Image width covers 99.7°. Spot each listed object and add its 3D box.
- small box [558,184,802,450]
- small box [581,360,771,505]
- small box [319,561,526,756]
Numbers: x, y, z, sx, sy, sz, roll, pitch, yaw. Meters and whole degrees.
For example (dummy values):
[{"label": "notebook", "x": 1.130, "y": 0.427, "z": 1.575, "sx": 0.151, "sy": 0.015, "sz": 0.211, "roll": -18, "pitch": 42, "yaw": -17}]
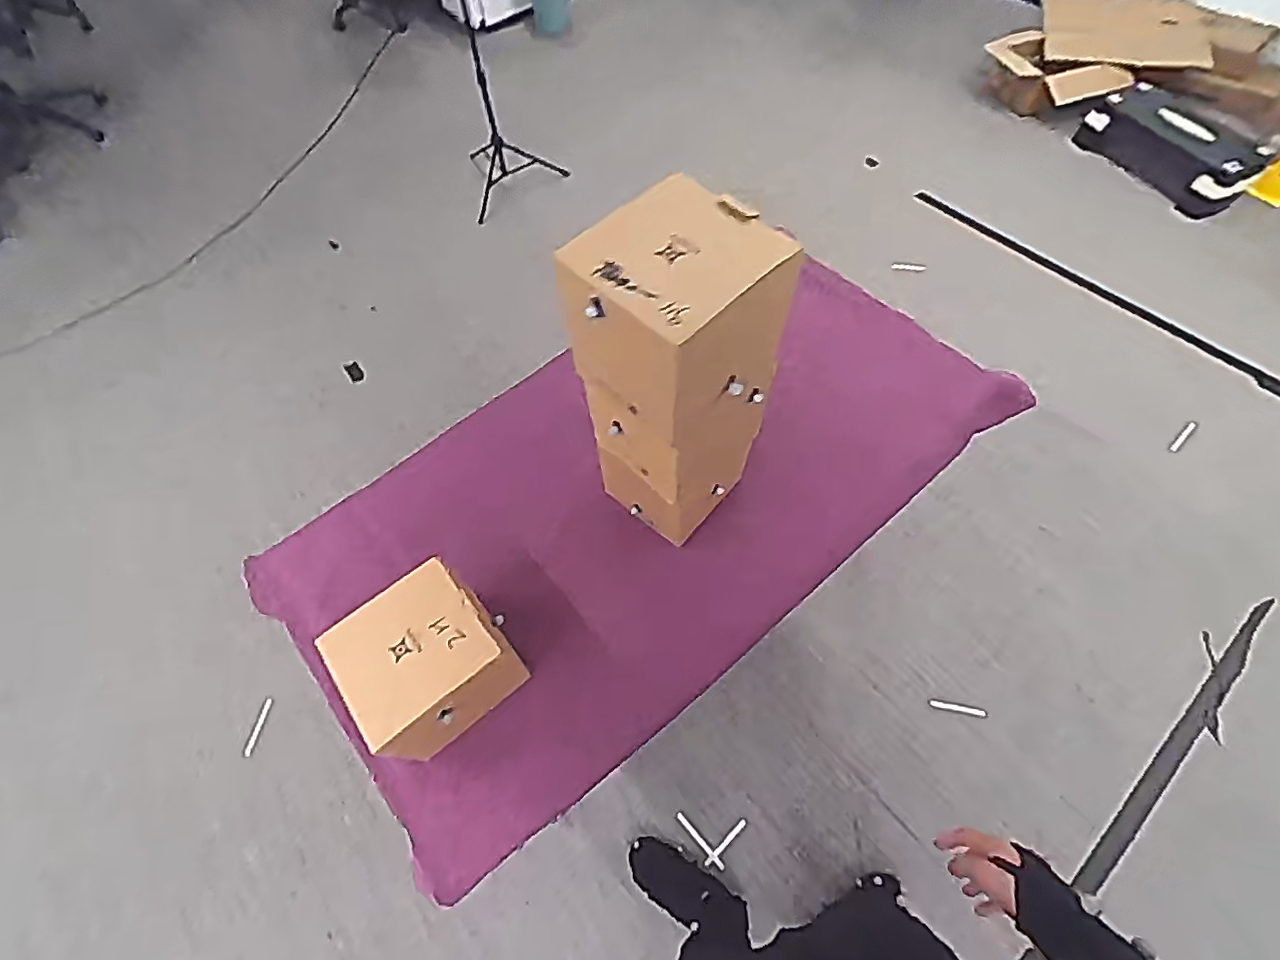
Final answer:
[{"label": "small box", "x": 0.038, "y": -0.168, "z": 0.577, "sx": 0.179, "sy": 0.176, "sz": 0.168, "roll": -41, "pitch": 67, "yaw": -19}, {"label": "small box", "x": 0.047, "y": -0.097, "z": 0.725, "sx": 0.179, "sy": 0.176, "sz": 0.168, "roll": -41, "pitch": 68, "yaw": -18}, {"label": "small box", "x": -0.280, "y": 0.247, "z": 0.731, "sx": 0.179, "sy": 0.176, "sz": 0.168, "roll": -36, "pitch": 65, "yaw": -17}]
